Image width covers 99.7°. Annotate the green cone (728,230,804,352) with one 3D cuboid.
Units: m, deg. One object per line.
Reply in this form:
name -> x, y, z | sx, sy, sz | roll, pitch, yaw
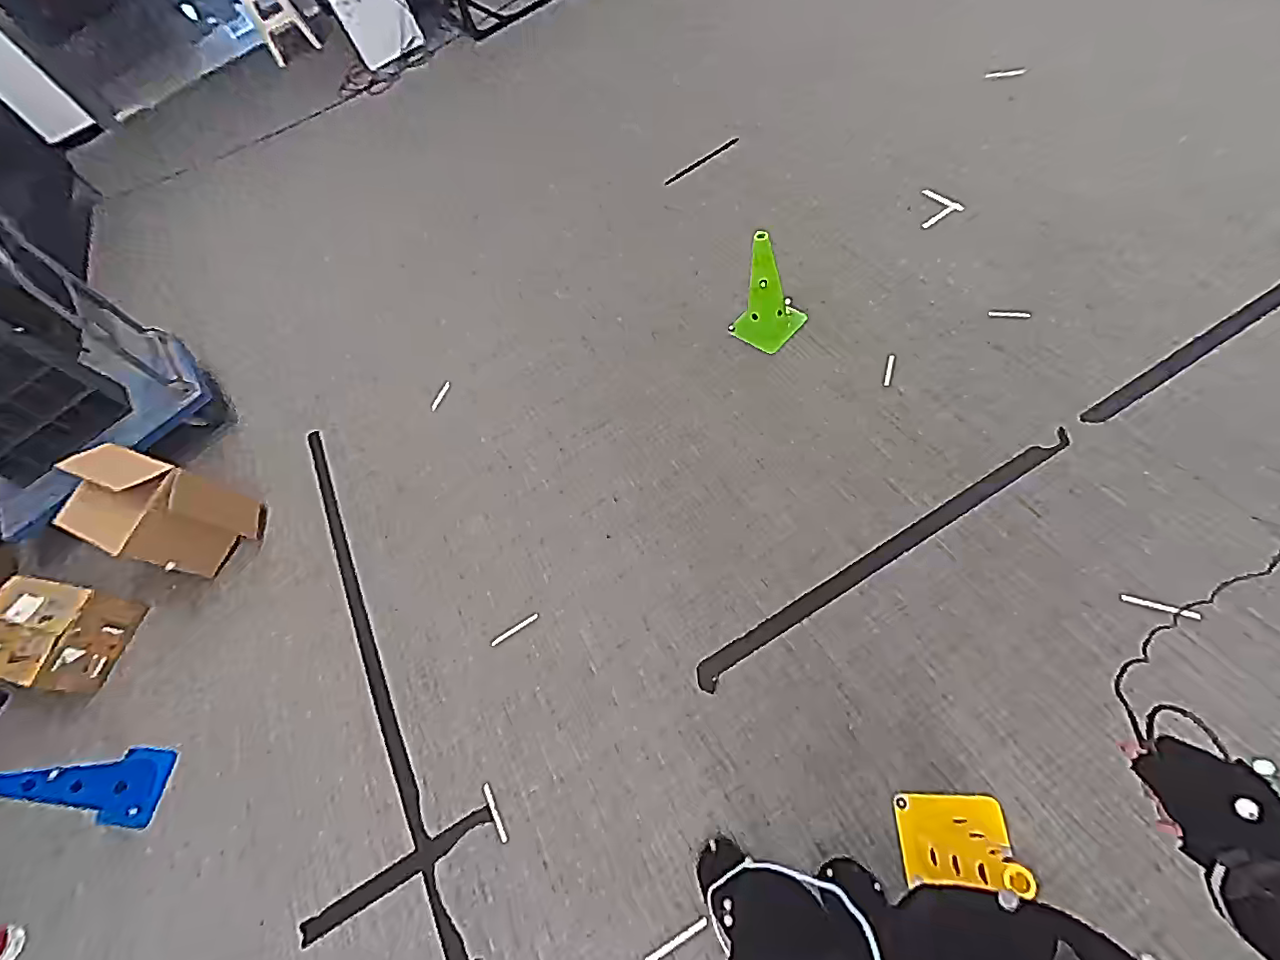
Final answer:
green cone -> 0.391, -0.615, 1.705 | 0.200, 0.368, 0.202 | 36, 75, 29
